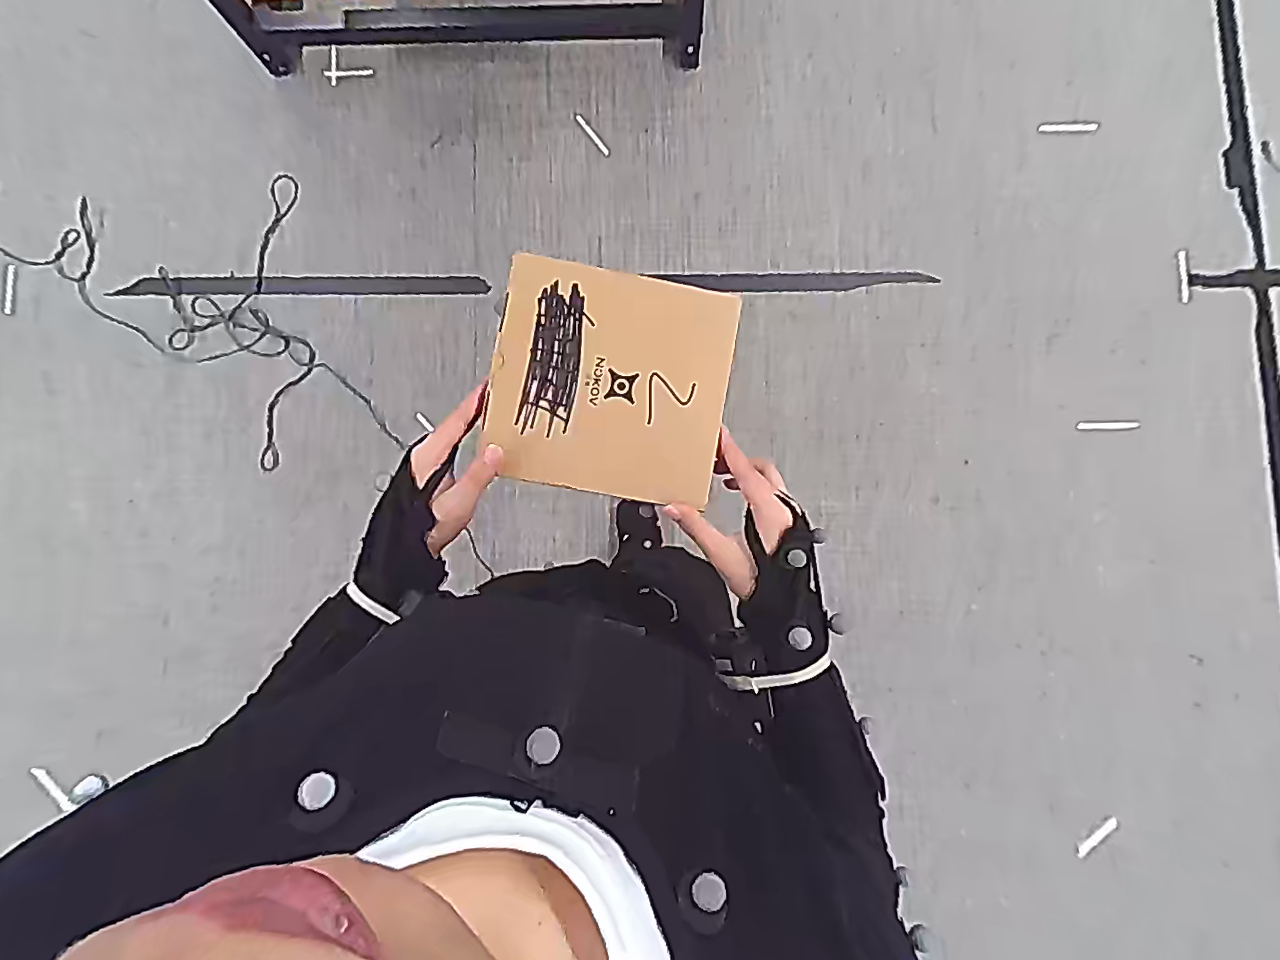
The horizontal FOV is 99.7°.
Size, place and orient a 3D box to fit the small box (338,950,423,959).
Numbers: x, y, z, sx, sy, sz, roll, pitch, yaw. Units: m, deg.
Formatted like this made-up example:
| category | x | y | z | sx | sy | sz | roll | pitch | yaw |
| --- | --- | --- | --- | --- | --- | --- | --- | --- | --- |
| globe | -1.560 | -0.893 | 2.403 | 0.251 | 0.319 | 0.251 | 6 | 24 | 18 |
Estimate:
| category | x | y | z | sx | sy | sz | roll | pitch | yaw |
| --- | --- | --- | --- | --- | --- | --- | --- | --- | --- |
| small box | -0.521 | 1.013 | 0.993 | 0.179 | 0.176 | 0.168 | 2 | 86 | 0 |

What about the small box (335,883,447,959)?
| category | x | y | z | sx | sy | sz | roll | pitch | yaw |
| --- | --- | --- | --- | --- | --- | --- | --- | --- | --- |
| small box | -0.524 | 1.010 | 1.158 | 0.168 | 0.176 | 0.179 | -3 | 85 | 0 |
